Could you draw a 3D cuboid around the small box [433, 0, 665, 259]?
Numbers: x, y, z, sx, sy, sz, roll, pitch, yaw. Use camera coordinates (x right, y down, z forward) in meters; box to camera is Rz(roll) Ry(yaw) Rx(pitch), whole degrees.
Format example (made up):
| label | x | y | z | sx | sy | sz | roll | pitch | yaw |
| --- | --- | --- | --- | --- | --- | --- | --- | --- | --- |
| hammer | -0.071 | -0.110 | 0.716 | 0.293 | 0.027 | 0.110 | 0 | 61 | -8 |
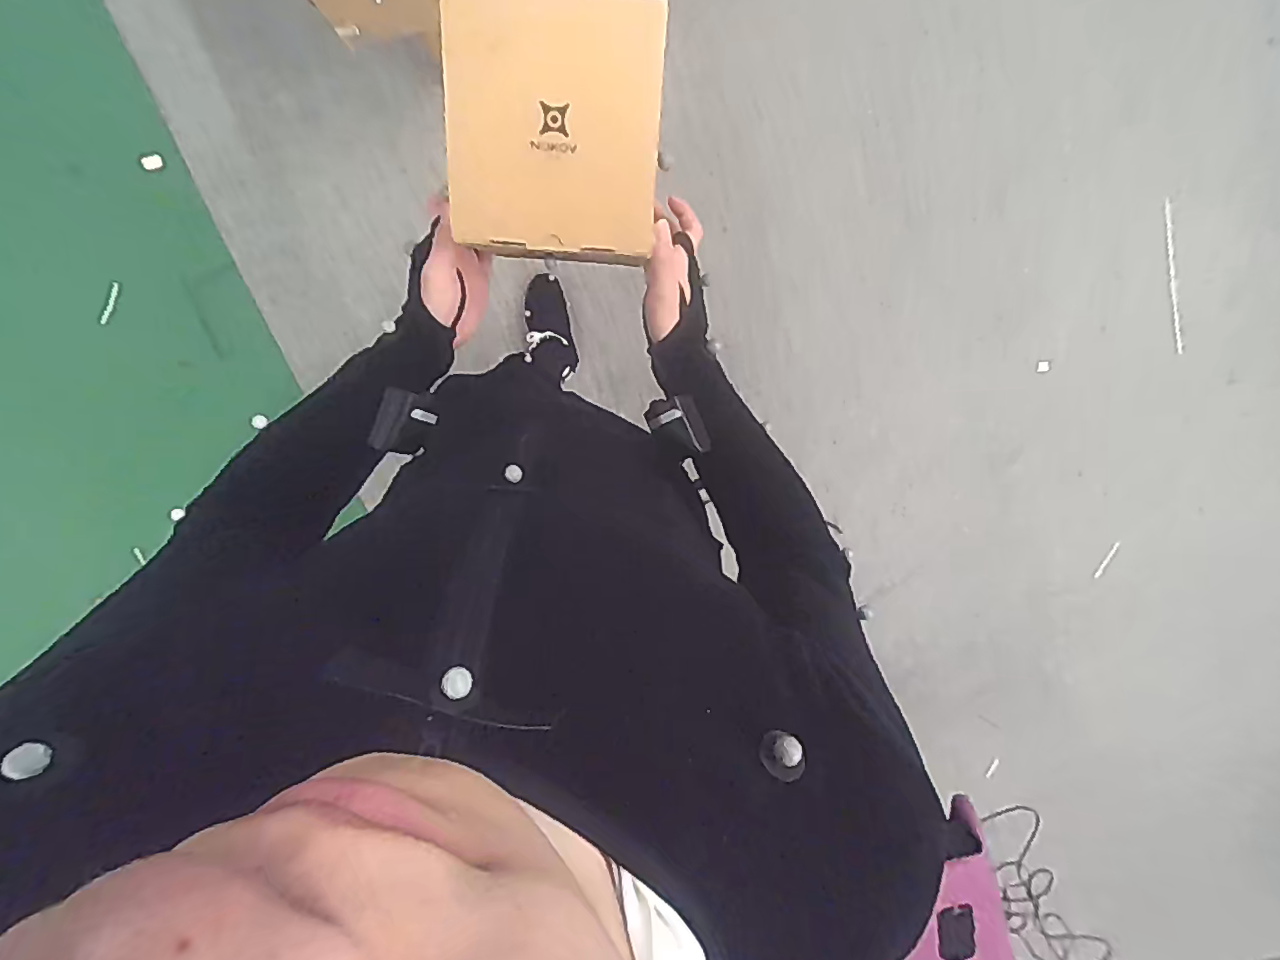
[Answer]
| label | x | y | z | sx | sy | sz | roll | pitch | yaw |
| --- | --- | --- | --- | --- | --- | --- | --- | --- | --- |
| small box | -0.075 | -0.300 | 0.480 | 0.168 | 0.176 | 0.179 | 2 | 110 | -5 |
